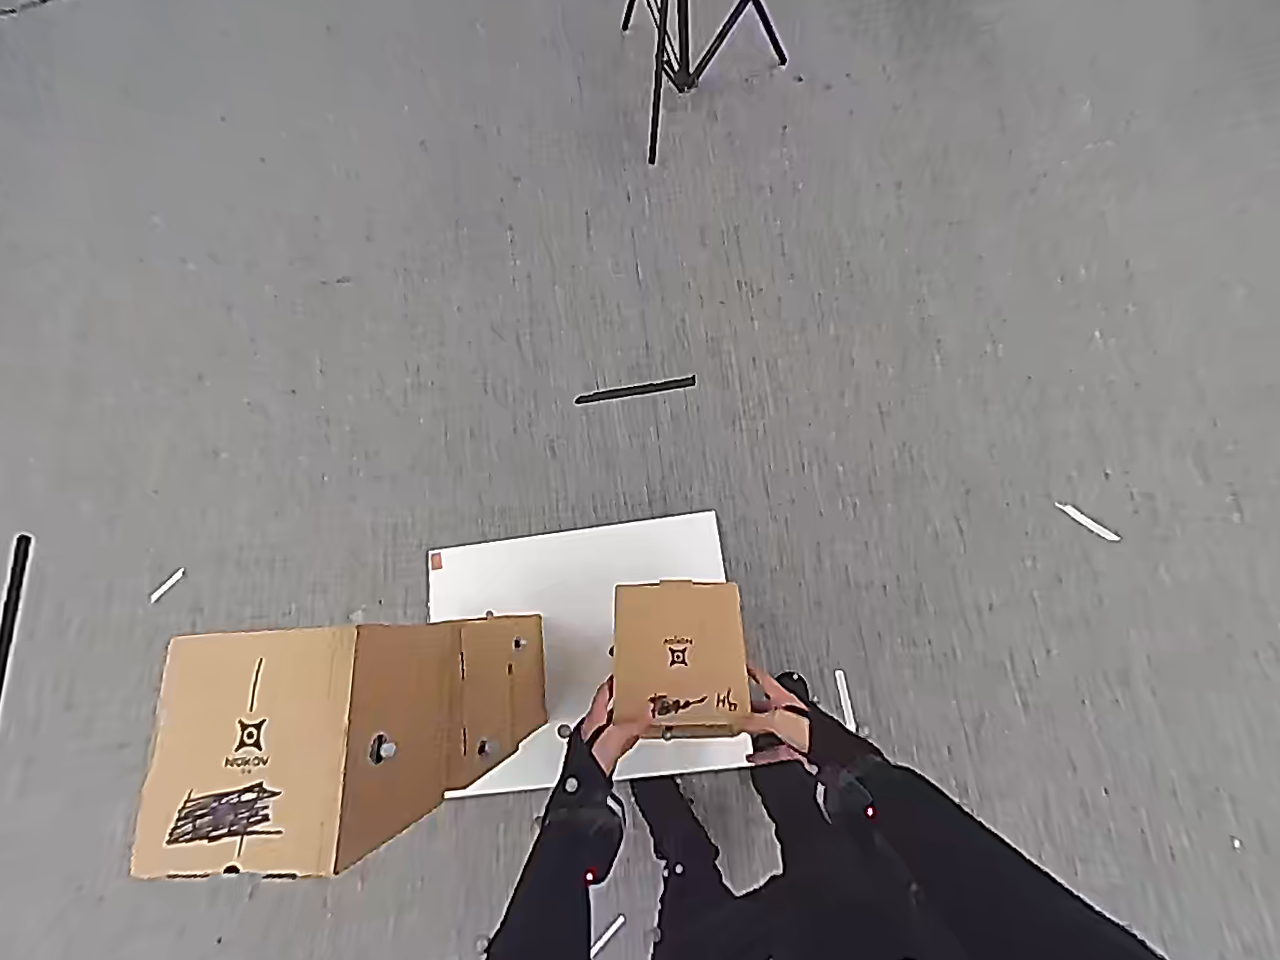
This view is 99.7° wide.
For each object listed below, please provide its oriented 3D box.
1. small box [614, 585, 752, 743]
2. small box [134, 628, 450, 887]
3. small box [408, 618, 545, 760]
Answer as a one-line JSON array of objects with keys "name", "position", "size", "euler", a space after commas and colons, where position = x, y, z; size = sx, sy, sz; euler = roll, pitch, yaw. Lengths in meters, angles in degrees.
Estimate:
[{"name": "small box", "position": [0.053, 0.256, 0.741], "size": [0.168, 0.176, 0.179], "euler": [-2, 60, 2]}, {"name": "small box", "position": [-0.287, 0.229, 0.488], "size": [0.168, 0.176, 0.179], "euler": [-4, 74, 6]}, {"name": "small box", "position": [-0.244, 0.303, 0.806], "size": [0.168, 0.176, 0.179], "euler": [-7, 75, 4]}]
